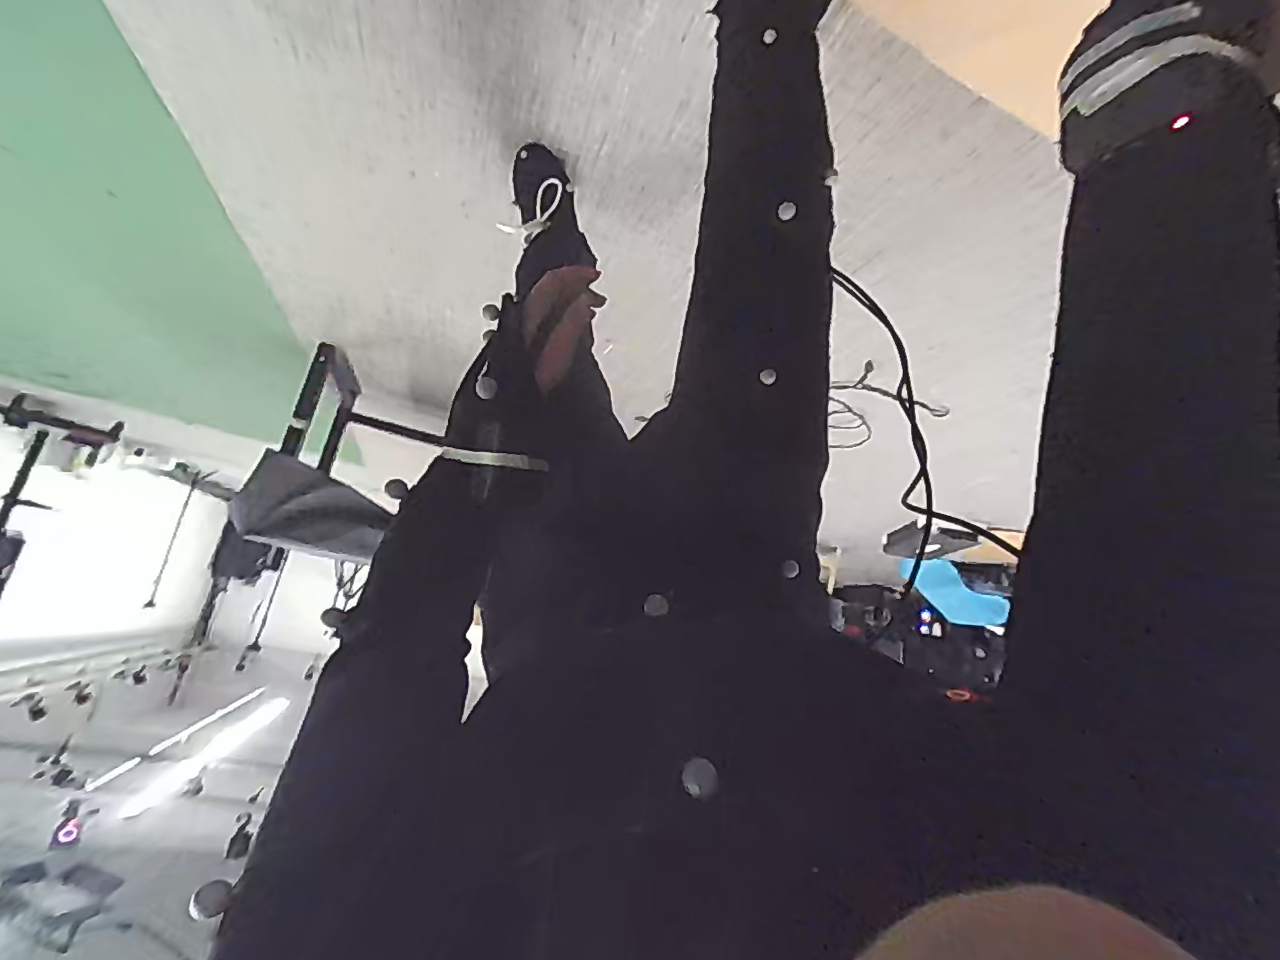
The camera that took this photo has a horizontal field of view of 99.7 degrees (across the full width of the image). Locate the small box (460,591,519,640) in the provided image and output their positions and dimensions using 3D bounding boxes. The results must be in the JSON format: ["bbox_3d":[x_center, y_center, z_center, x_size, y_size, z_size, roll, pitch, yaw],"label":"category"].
[{"bbox_3d":[-0.618,0.554,2.217,0.179,0.176,0.168,17,163,-25],"label":"small box"}]
